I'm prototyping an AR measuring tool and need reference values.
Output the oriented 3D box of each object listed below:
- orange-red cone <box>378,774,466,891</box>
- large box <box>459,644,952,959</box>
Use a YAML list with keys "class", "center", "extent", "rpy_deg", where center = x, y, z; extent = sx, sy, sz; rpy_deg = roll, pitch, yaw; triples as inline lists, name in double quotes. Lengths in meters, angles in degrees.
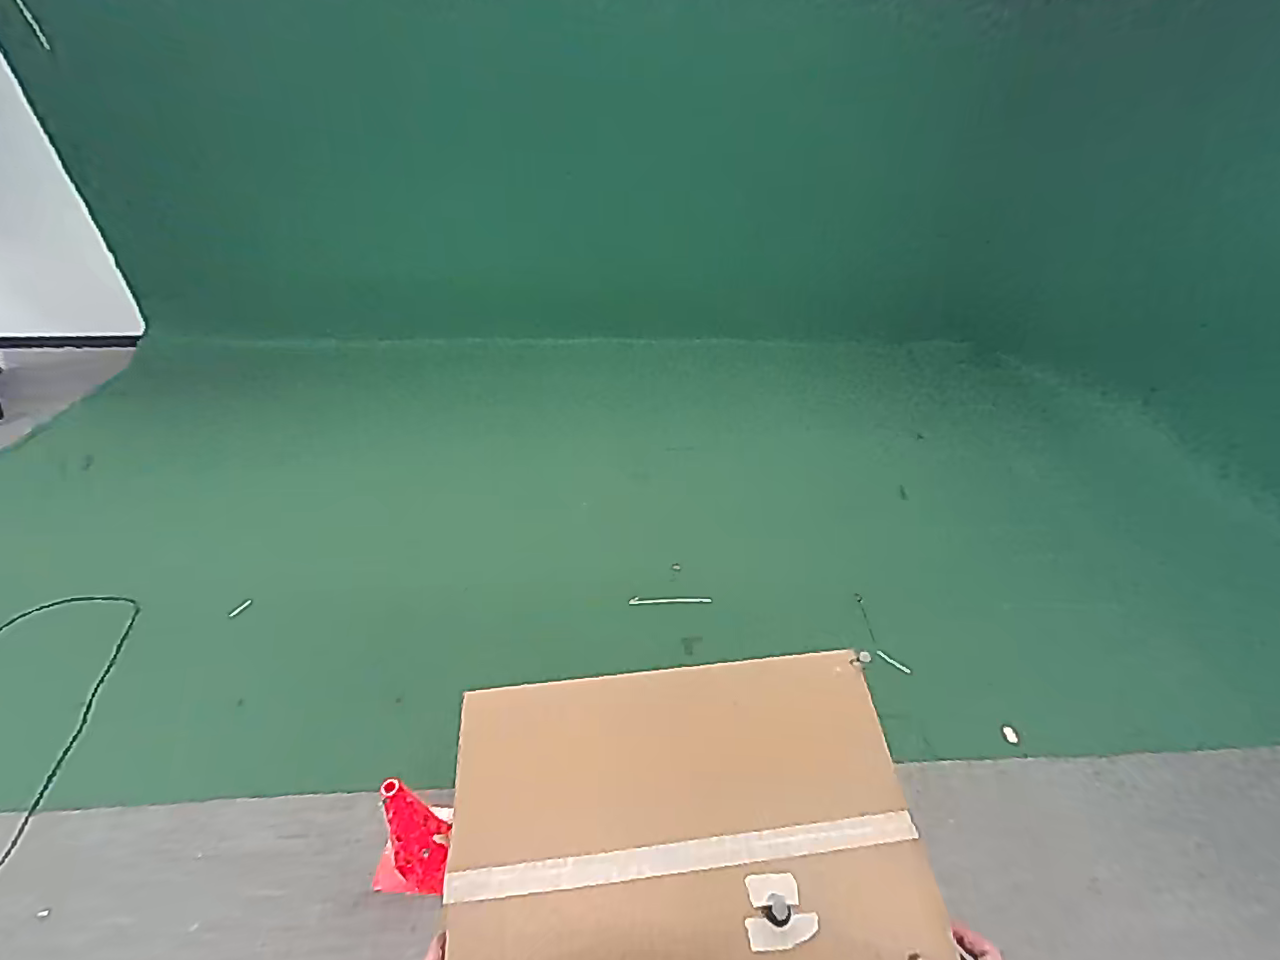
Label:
- class: "orange-red cone"
  center: [-0.561, 0.824, 1.324]
  extent: [0.199, 0.360, 0.198]
  rpy_deg: [2, 37, 3]
- class: "large box"
  center: [0.040, 0.406, 0.602]
  extent: [0.408, 0.320, 0.320]
  rpy_deg: [-5, 56, -4]
